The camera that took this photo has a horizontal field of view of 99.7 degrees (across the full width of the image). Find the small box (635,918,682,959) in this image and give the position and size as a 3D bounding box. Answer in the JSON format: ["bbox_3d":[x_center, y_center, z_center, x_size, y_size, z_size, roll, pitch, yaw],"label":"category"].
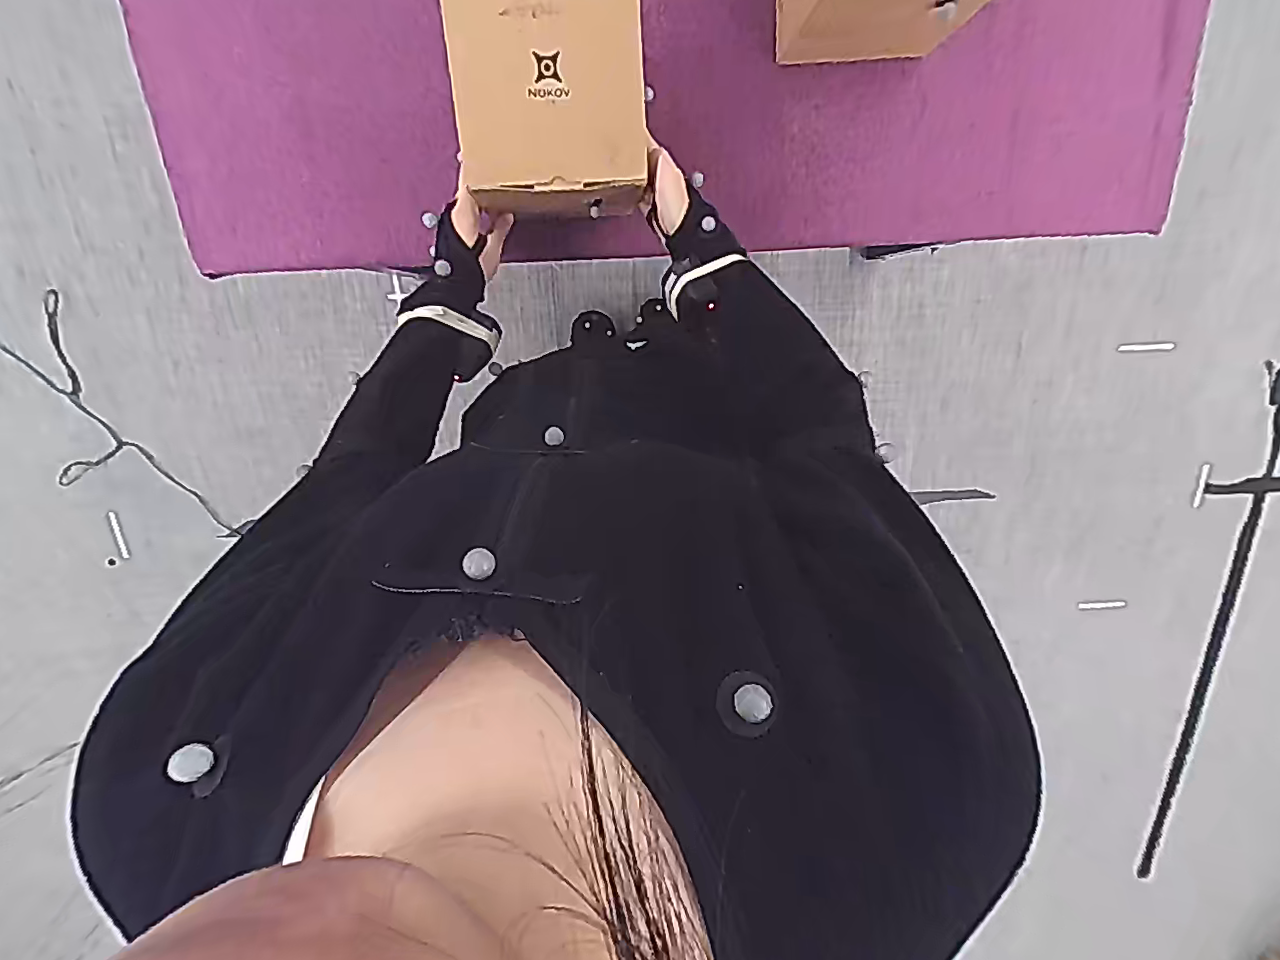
[{"bbox_3d":[0.069,1.757,1.991,0.168,0.176,0.179,-5,108,-1],"label":"small box"}]

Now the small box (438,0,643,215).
[{"bbox_3d":[-0.090,-0.372,0.539,0.168,0.176,0.179,-6,106,-6],"label":"small box"}]

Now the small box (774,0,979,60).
[{"bbox_3d":[0.240,-0.540,0.520,0.179,0.176,0.168,-4,106,-1],"label":"small box"}]
